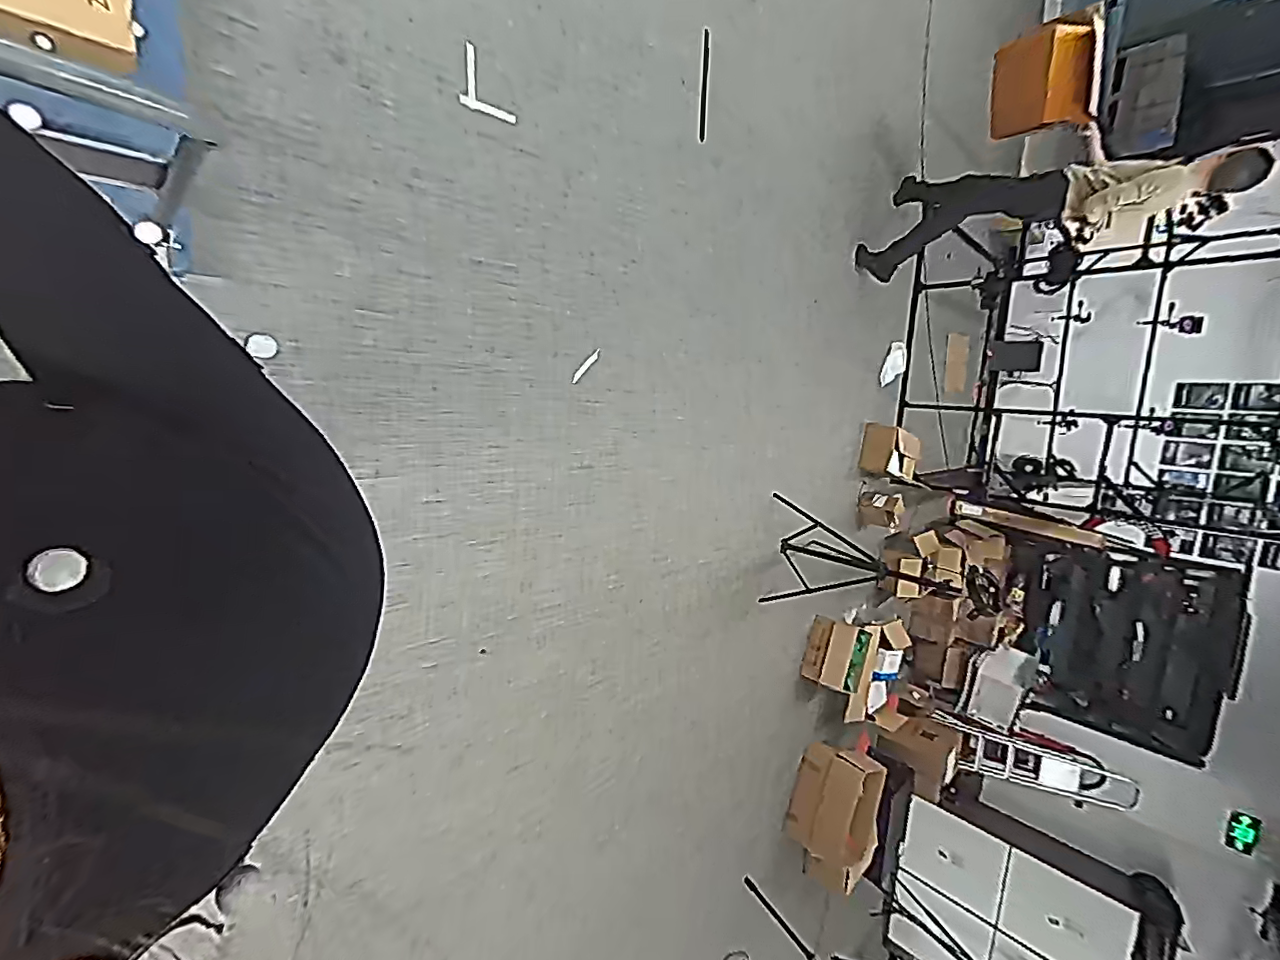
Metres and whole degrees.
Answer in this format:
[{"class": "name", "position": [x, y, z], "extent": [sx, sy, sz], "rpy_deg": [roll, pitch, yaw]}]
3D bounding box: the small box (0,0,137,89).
[{"class": "small box", "position": [-0.861, -0.712, 0.786], "extent": [0.179, 0.176, 0.168], "rpy_deg": [-7, 104, -45]}]
